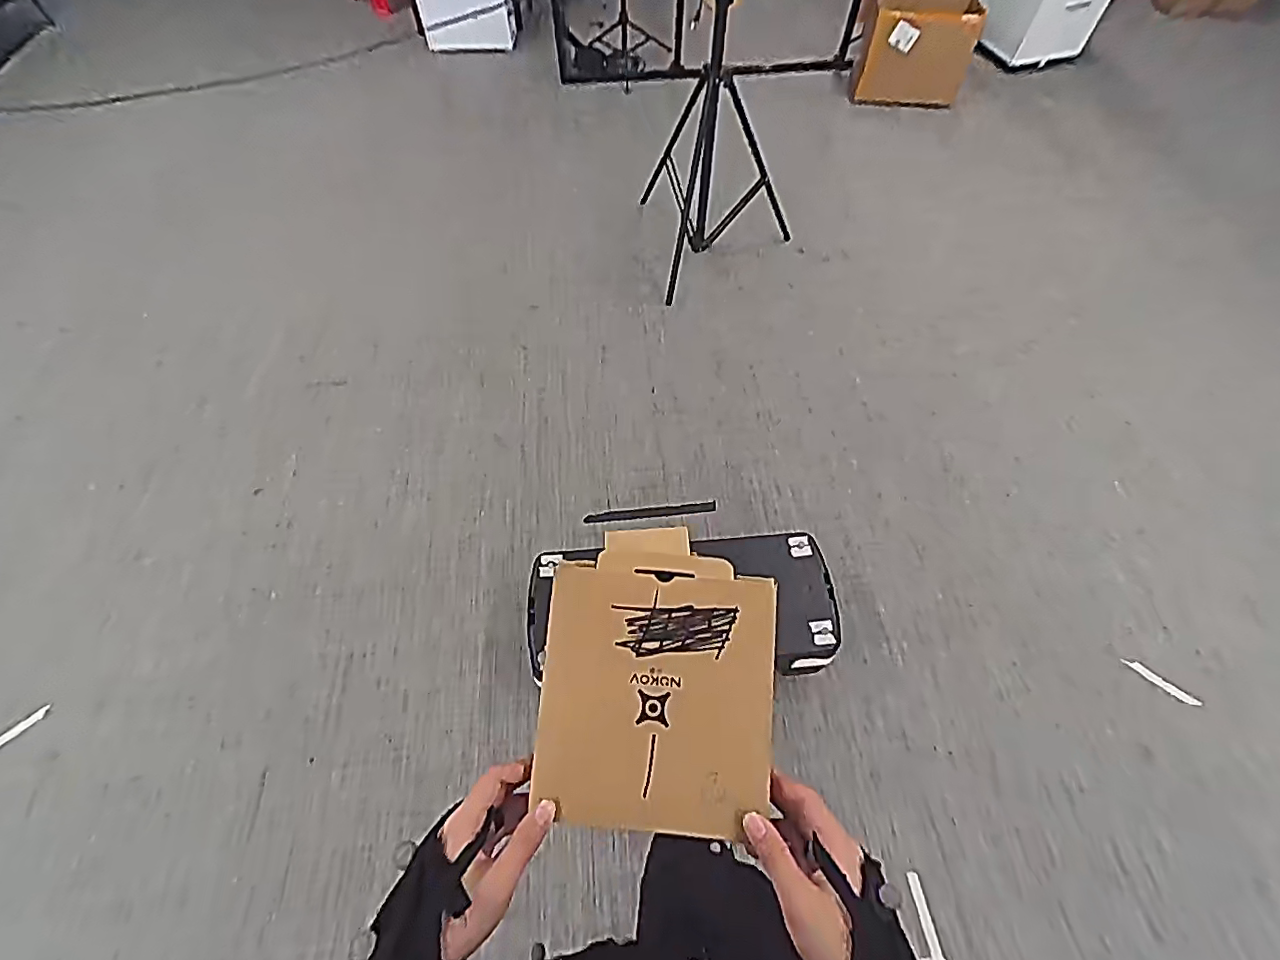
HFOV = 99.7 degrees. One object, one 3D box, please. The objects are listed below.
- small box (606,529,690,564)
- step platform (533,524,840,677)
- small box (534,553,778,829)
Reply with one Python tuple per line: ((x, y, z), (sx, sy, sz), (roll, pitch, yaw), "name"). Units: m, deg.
((0.016, 0.217, 1.096), (0.168, 0.176, 0.179), (-3, 59, -1), "small box")
((0.099, 0.285, 1.257), (0.684, 0.204, 0.286), (-5, 59, -2), "step platform")
((0.016, 0.165, 0.467), (0.168, 0.176, 0.179), (5, 77, 3), "small box")
